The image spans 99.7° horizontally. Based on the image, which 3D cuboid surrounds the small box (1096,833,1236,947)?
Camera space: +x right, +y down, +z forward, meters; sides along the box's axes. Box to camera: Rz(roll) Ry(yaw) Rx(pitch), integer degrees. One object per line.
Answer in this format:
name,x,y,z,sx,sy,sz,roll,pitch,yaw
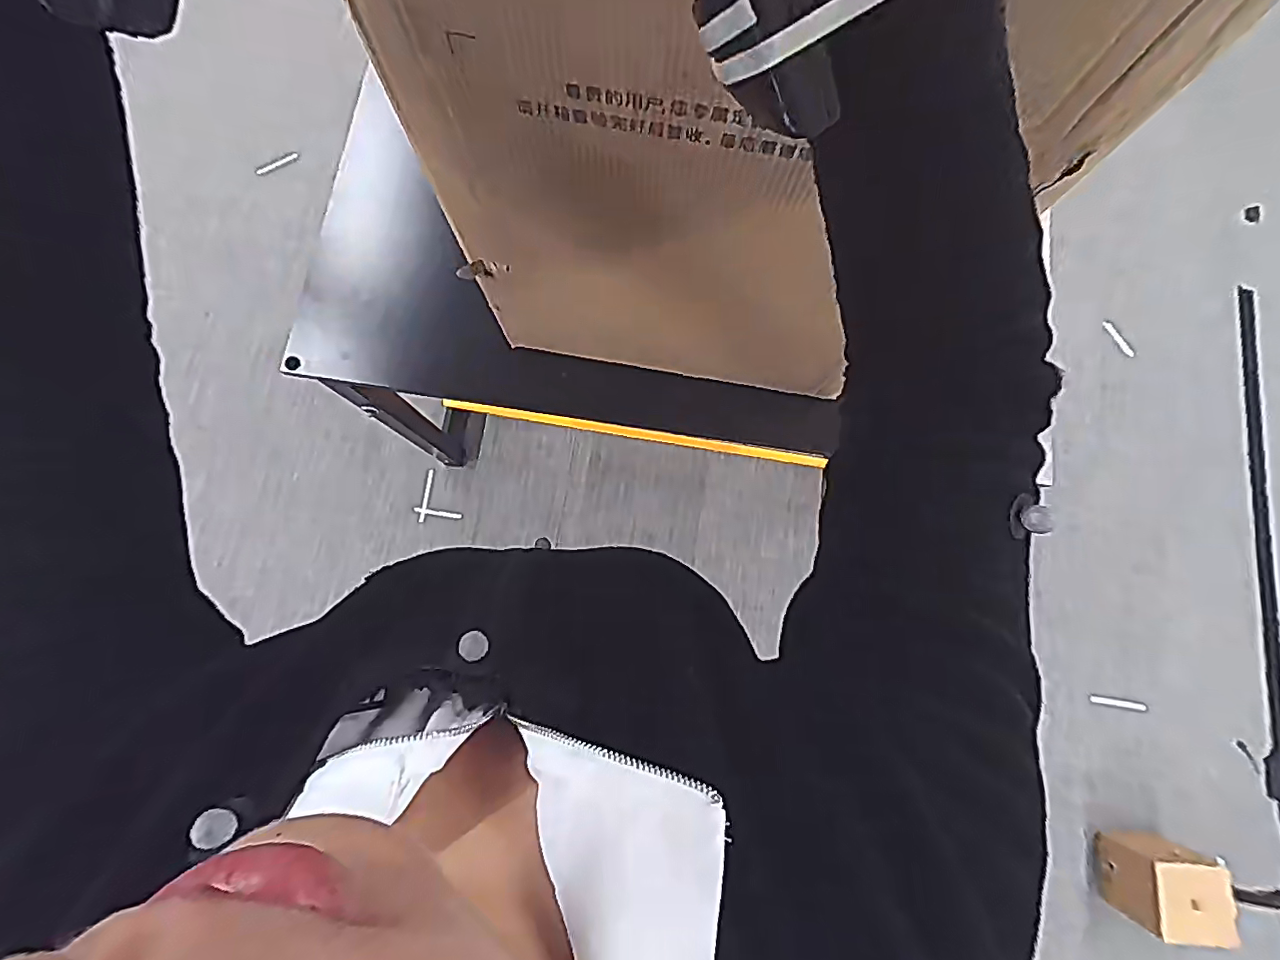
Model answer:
small box,1.277,0.993,1.325,0.179,0.176,0.168,4,78,0
